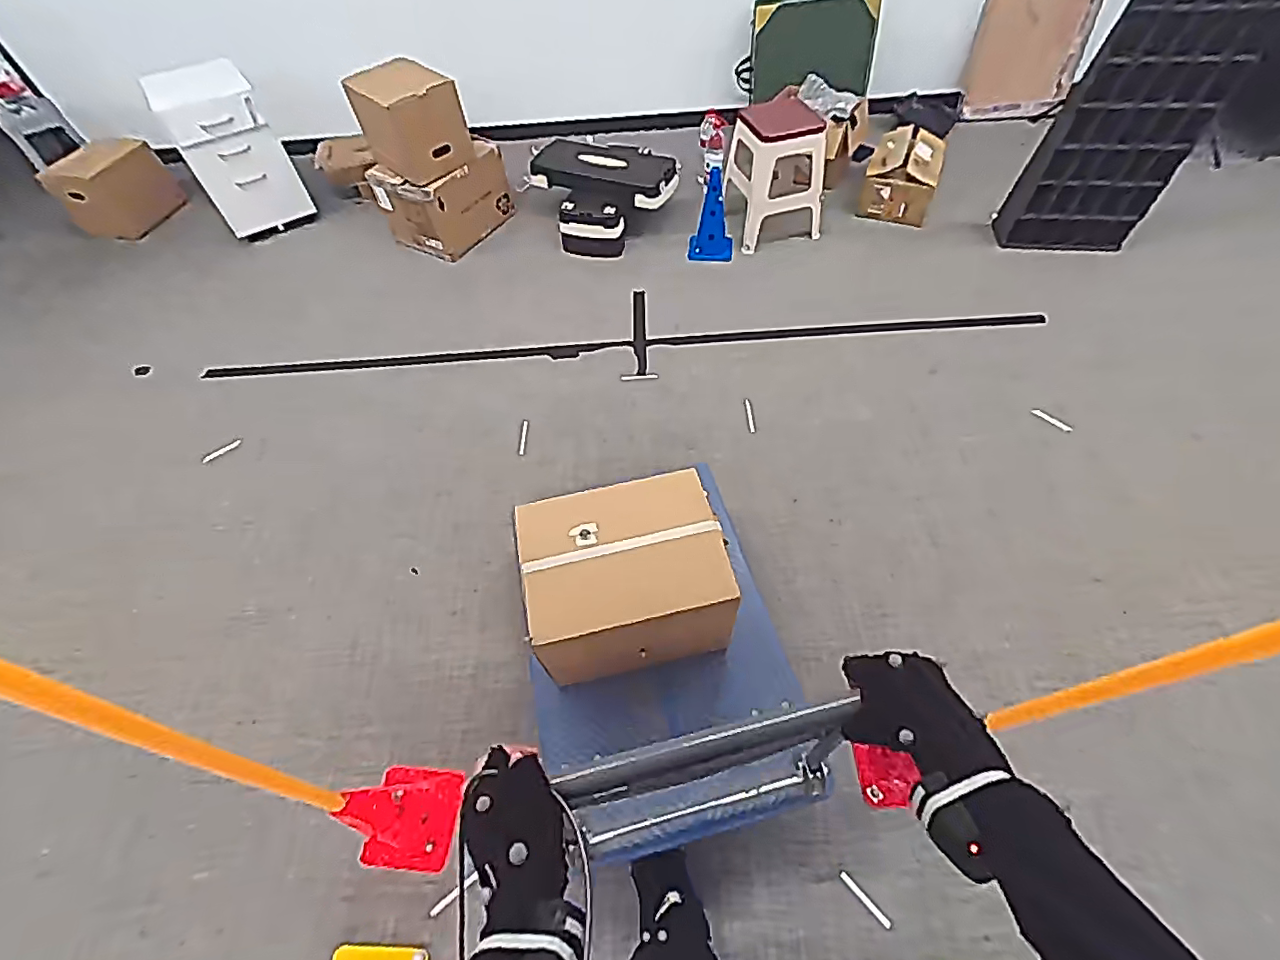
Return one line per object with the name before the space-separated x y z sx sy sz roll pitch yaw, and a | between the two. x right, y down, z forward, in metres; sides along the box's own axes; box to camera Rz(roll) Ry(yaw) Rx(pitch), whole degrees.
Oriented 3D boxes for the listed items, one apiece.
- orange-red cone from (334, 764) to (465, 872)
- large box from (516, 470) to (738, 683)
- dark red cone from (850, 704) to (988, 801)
orange-red cone | -0.526 0.672 1.110 0.198 0.360 0.199 4 54 5
large box | -0.030 0.225 1.217 0.408 0.320 0.320 -13 56 -5
dark red cone | 0.600 0.535 1.118 0.201 0.394 0.202 -2 55 0
